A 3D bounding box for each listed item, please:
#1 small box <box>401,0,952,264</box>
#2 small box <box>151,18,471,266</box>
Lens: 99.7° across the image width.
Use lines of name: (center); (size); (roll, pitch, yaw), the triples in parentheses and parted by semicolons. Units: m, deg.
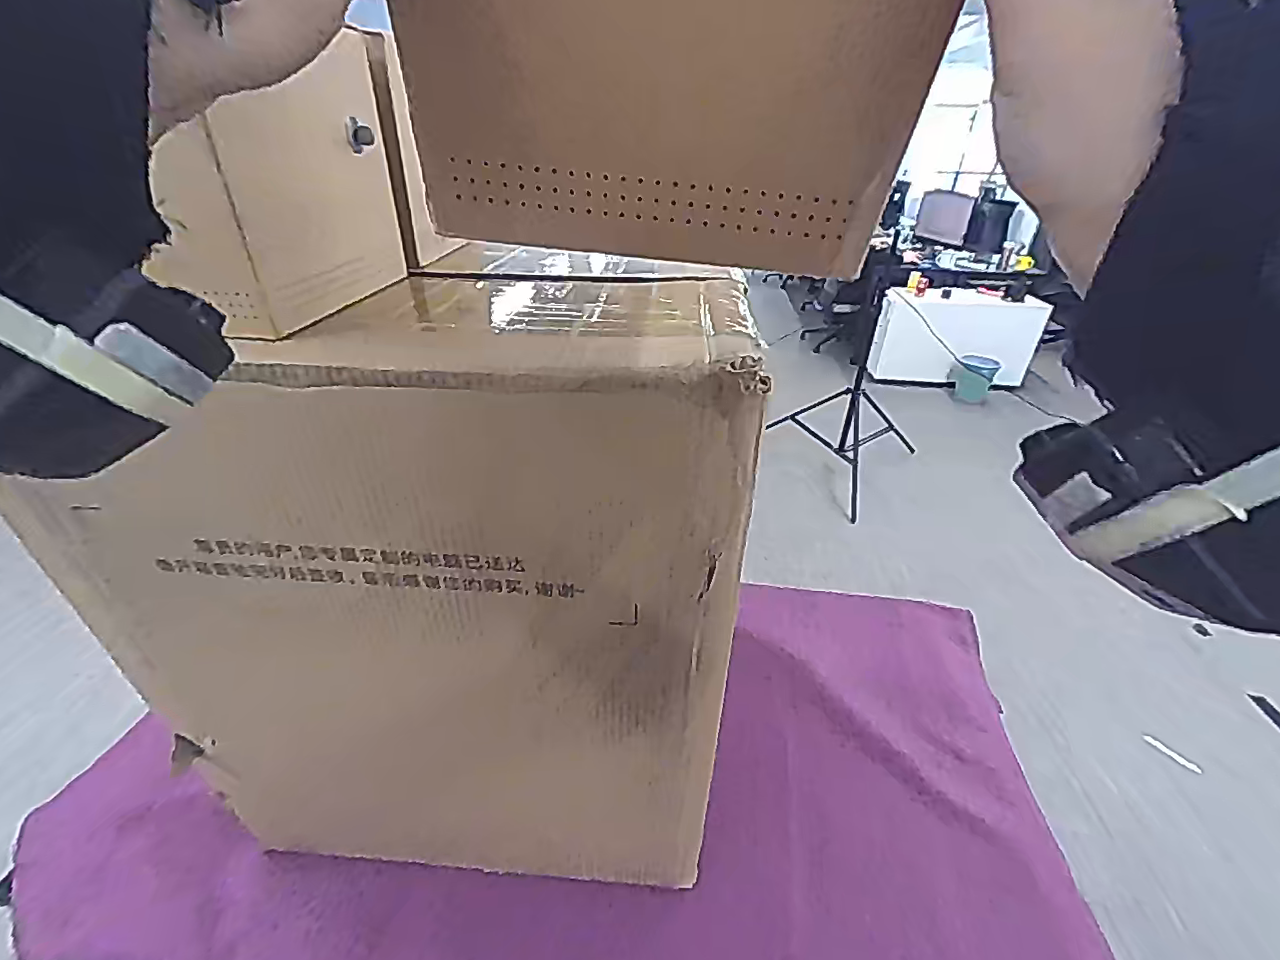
small box: (0.018, -0.206, 0.215); (0.179, 0.176, 0.168); (6, 48, 2)
small box: (-0.273, -0.301, 0.502); (0.179, 0.176, 0.168); (3, 32, 0)
